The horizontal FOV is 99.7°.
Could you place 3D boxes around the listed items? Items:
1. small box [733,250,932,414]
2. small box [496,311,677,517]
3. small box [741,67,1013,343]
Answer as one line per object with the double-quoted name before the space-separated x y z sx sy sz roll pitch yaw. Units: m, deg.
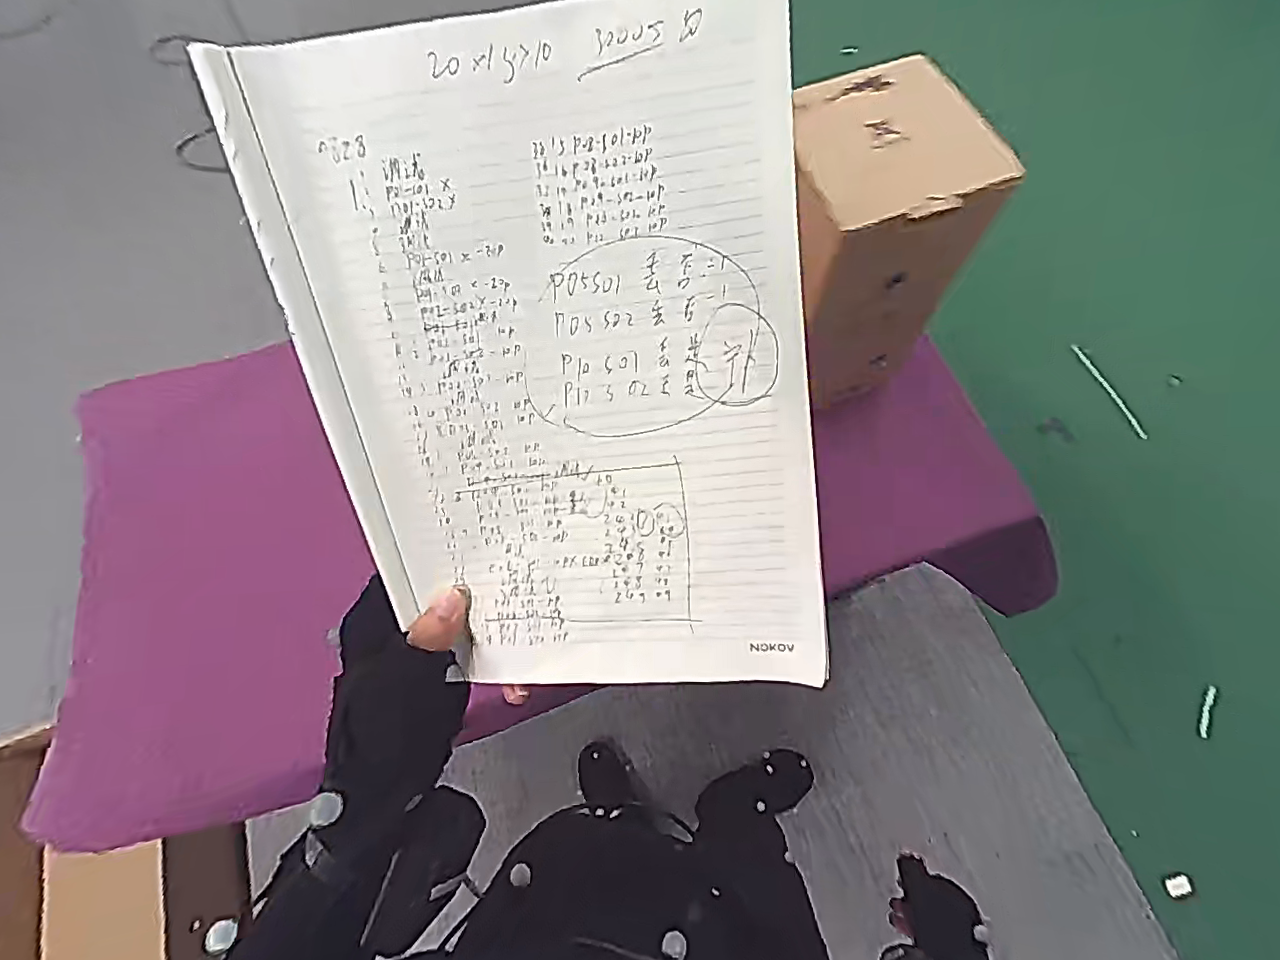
"small box" 0.232 -0.205 0.704 0.168 0.176 0.179 -17 68 -3
"small box" -0.056 -0.068 0.671 0.168 0.176 0.179 -20 68 -4
"small box" 0.216 -0.263 0.552 0.168 0.176 0.179 -17 69 -4
